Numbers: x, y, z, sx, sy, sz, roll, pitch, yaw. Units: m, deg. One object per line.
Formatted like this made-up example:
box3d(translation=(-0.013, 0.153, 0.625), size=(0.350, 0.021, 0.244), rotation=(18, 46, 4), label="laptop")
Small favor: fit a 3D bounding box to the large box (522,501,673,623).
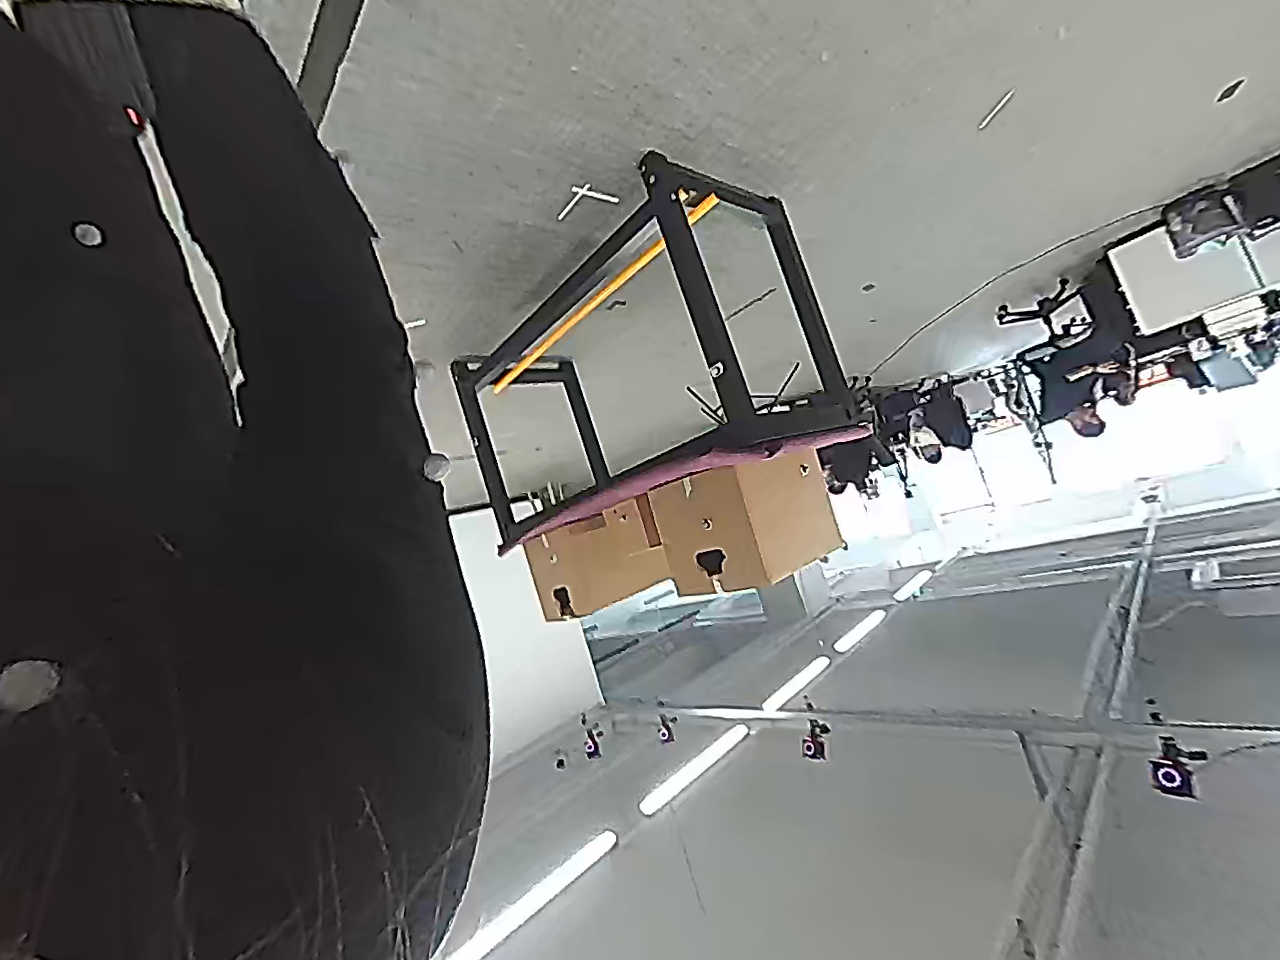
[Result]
box3d(translation=(-0.159, 0.298, 2.003), size=(0.408, 0.320, 0.320), rotation=(-14, 173, -44), label="large box")
